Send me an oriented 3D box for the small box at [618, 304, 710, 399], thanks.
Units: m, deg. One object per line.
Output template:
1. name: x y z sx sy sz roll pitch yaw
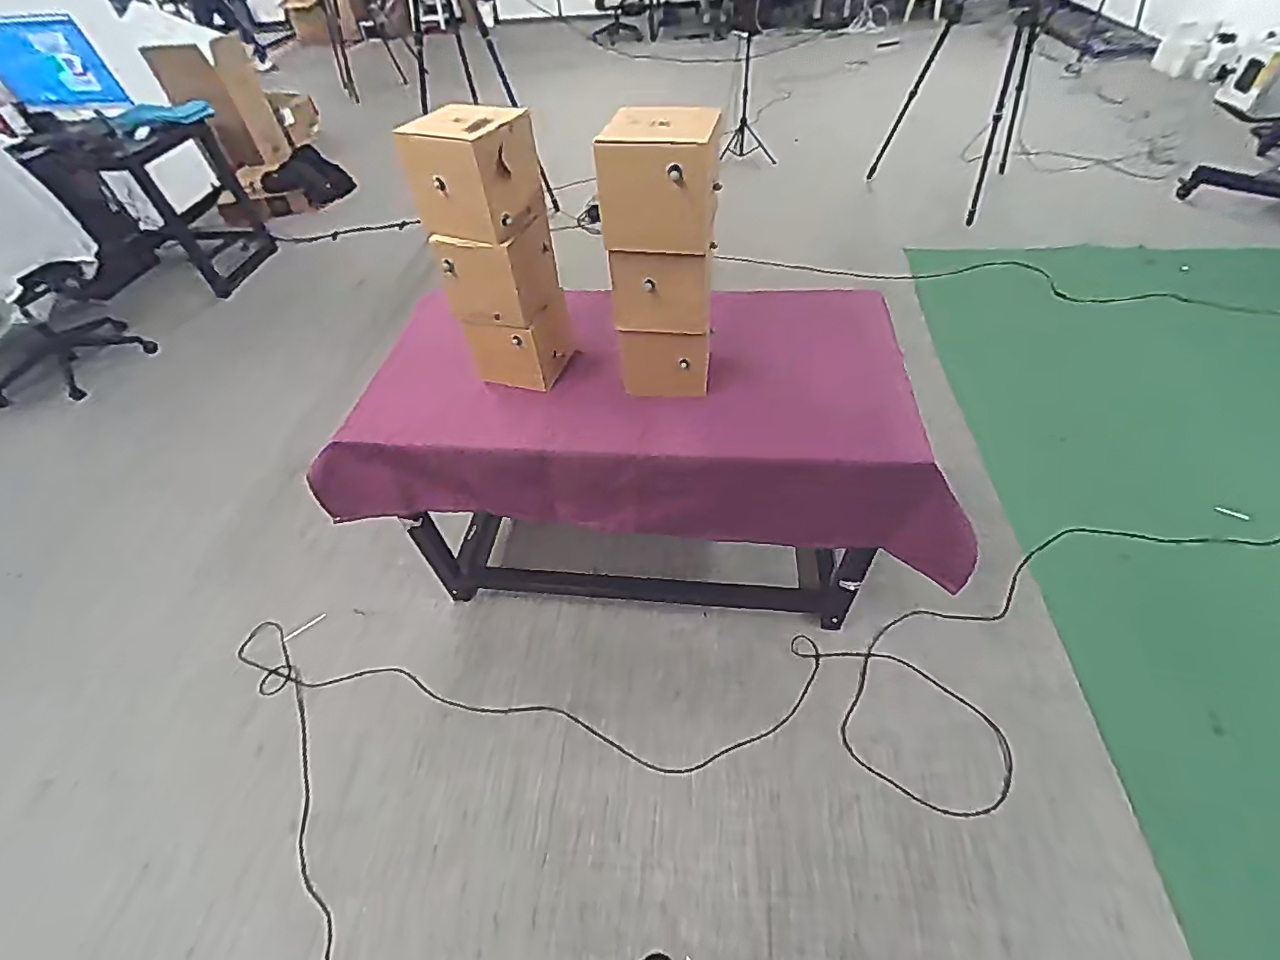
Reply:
1. small box: 0.058 -0.293 1.182 0.179 0.176 0.168 3 48 9

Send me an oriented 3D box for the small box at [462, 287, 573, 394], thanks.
1. small box: -0.270 -0.317 1.235 0.179 0.176 0.168 11 50 14

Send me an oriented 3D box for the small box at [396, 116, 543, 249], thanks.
1. small box: -0.302 -0.548 1.002 0.179 0.176 0.168 17 51 19

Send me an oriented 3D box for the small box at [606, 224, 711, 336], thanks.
1. small box: 0.044 -0.396 1.055 0.179 0.176 0.168 5 49 10

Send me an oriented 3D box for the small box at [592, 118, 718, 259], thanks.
1. small box: 0.032 -0.495 0.923 0.179 0.176 0.168 8 48 12
